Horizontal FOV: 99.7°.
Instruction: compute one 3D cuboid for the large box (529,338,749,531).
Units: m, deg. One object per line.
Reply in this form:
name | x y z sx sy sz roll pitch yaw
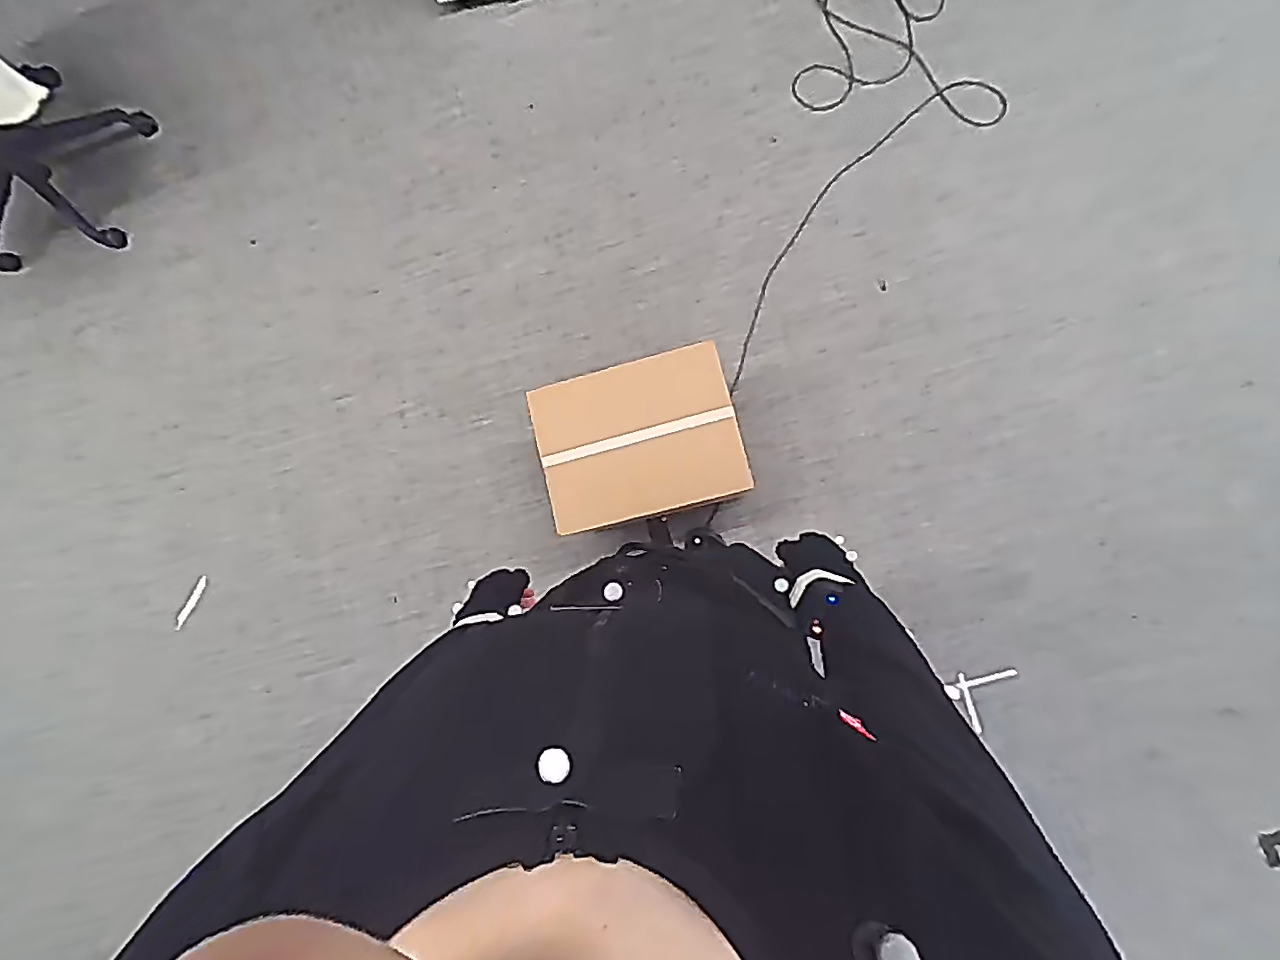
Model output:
large box | 0.008 -0.081 1.248 0.408 0.320 0.320 -14 85 6
